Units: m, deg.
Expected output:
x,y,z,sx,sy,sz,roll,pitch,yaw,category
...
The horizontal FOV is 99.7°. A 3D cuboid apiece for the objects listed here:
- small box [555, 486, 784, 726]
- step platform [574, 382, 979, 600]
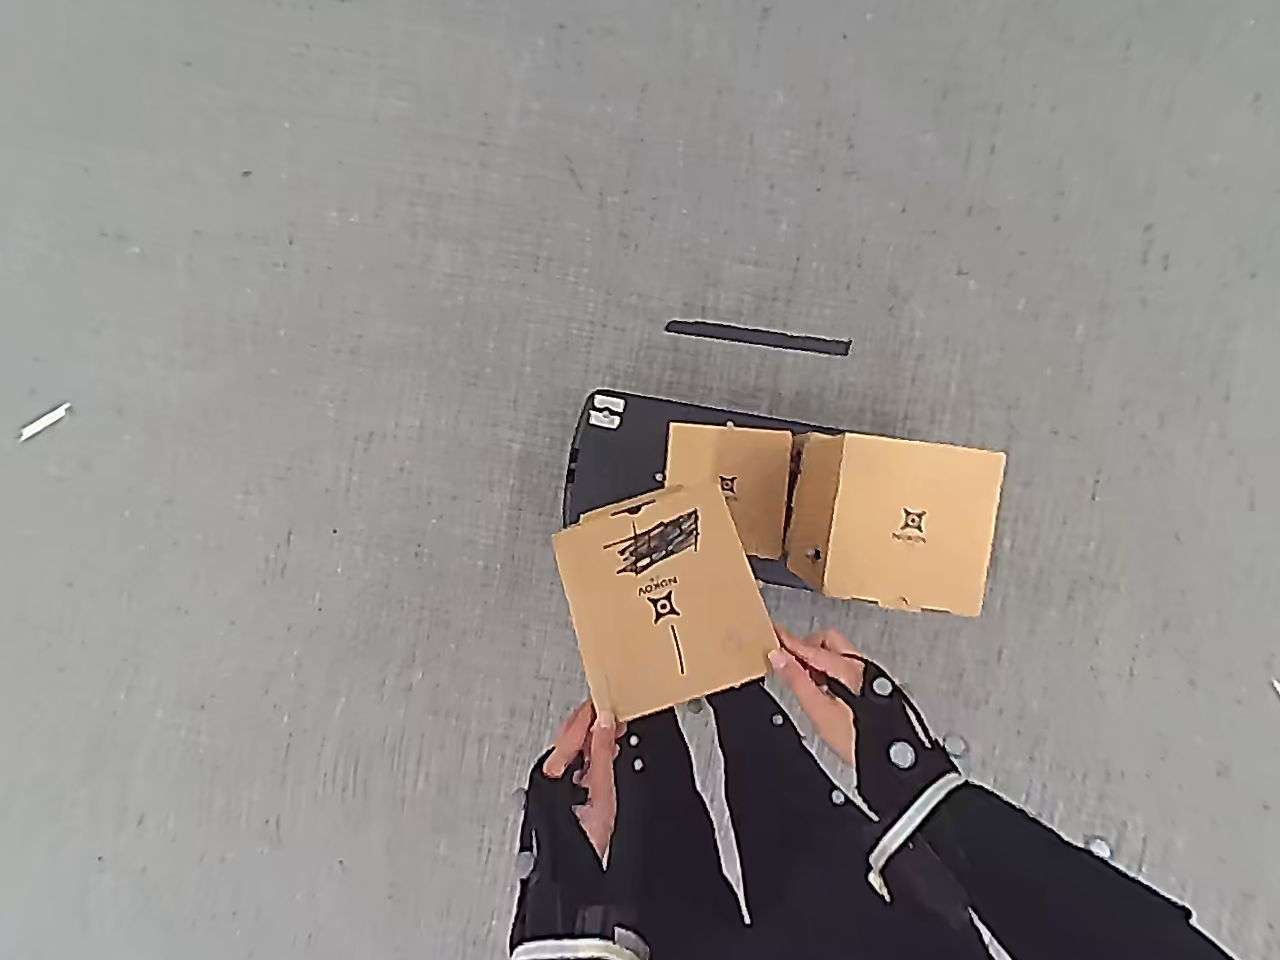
x,y,z,sx,sy,sz,roll,pitch,yaw,category
0.028,0.132,0.550,0.168,0.176,0.179,-18,69,1,small box
0.226,0.015,0.985,0.684,0.204,0.286,10,91,4,step platform
